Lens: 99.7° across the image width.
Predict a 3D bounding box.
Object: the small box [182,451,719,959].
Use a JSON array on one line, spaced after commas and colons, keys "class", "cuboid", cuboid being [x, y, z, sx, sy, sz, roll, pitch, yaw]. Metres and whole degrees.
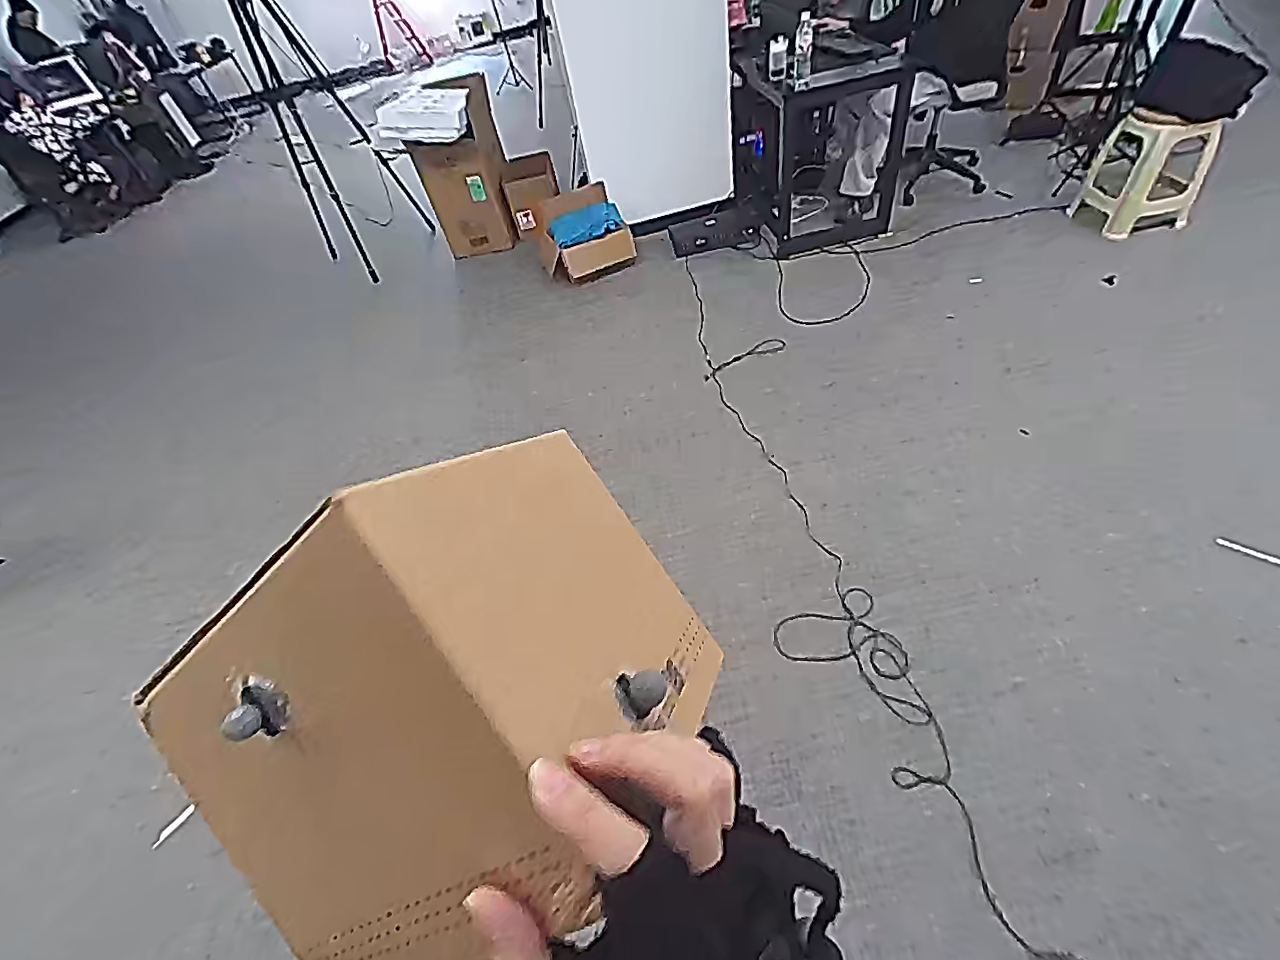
[{"class": "small box", "cuboid": [-0.087, 0.112, 0.297, 0.179, 0.176, 0.168, -37, -1, 24]}]
